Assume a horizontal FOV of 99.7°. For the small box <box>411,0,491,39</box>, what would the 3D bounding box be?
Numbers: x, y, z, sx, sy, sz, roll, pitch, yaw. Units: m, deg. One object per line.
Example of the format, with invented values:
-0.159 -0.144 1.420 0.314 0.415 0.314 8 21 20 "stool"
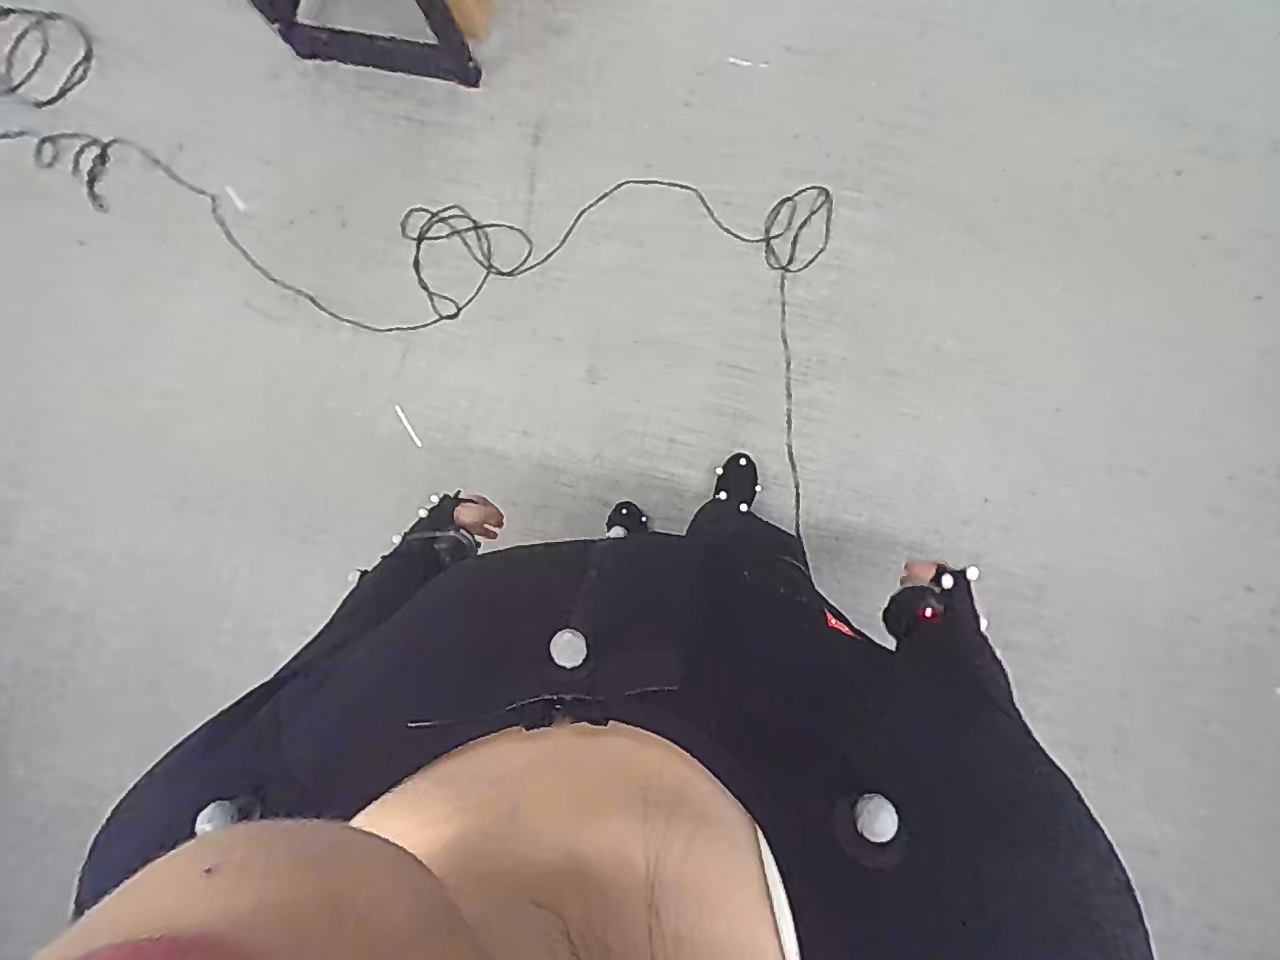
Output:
-0.527 -1.372 1.489 0.179 0.176 0.168 18 91 5 "small box"
